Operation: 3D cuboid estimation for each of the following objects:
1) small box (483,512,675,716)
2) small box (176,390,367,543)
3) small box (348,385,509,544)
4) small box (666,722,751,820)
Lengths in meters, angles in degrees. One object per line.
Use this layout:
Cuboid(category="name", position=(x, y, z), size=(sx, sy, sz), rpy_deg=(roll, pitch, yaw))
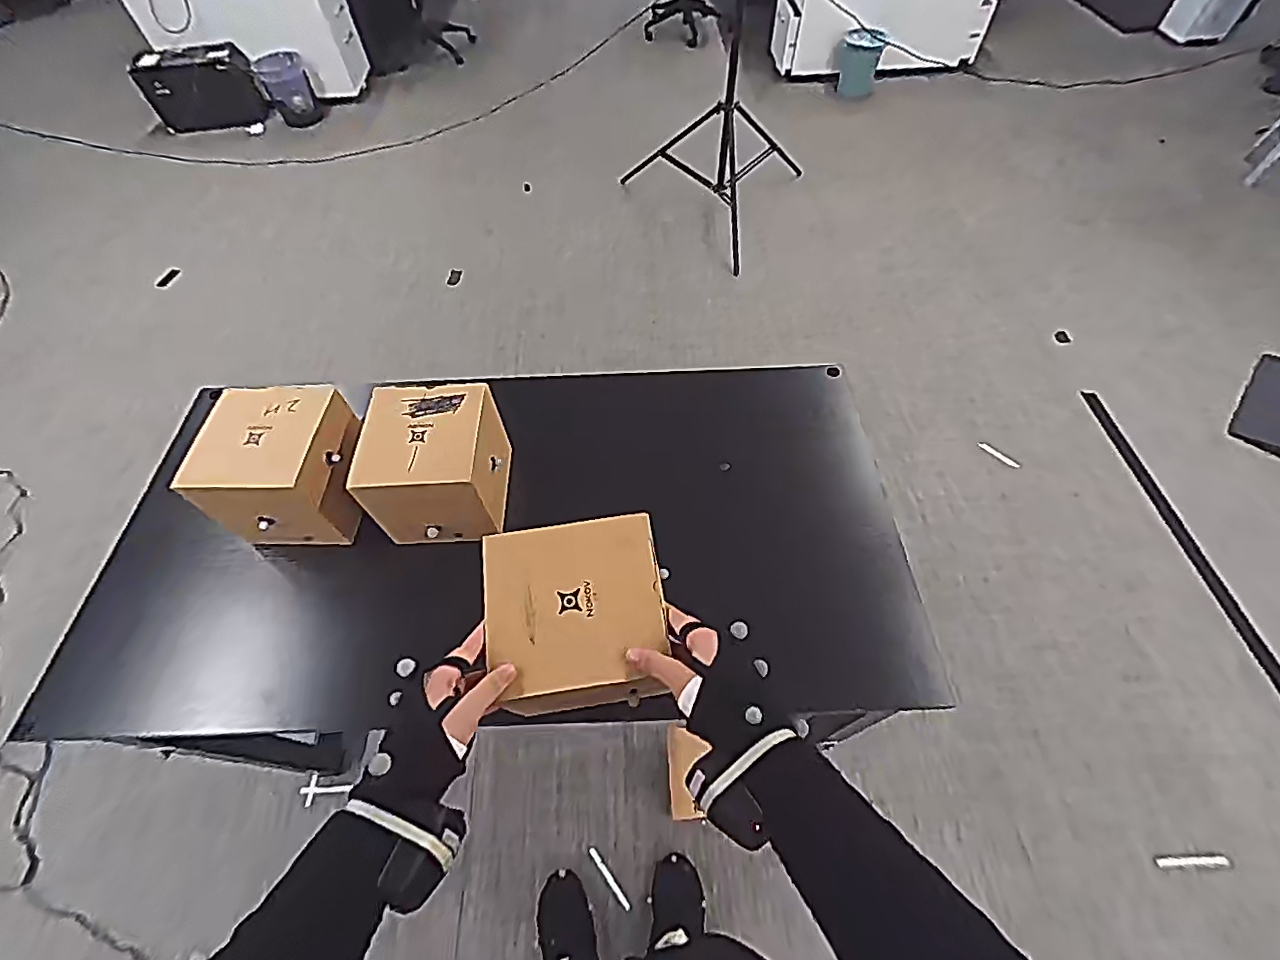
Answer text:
Cuboid(category="small box", position=(-0.063, 0.154, 0.597), size=(0.179, 0.176, 0.168), rpy_deg=(-10, 61, -2))
Cuboid(category="small box", position=(-0.524, -0.015, 0.816), size=(0.168, 0.176, 0.179), rpy_deg=(0, 56, 1))
Cuboid(category="small box", position=(-0.299, -0.021, 0.812), size=(0.168, 0.176, 0.179), rpy_deg=(-3, 57, 0))
Cuboid(category="small box", position=(0.146, 0.660, 1.221), size=(0.168, 0.176, 0.179), rpy_deg=(-4, 56, 1))
